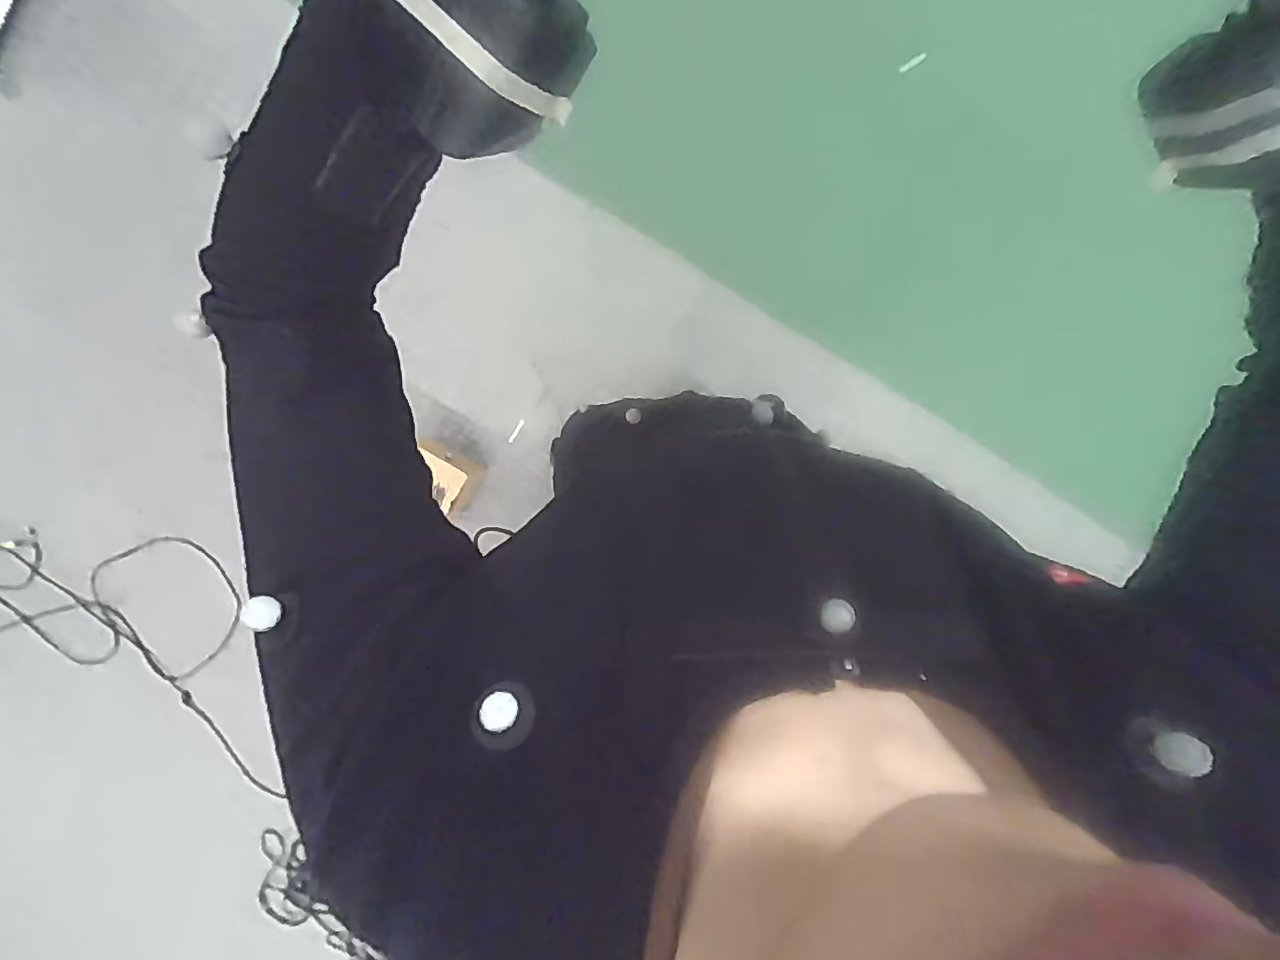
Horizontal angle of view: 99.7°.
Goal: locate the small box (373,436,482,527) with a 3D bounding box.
[{"bbox_3d":[-0.532,-0.005,1.383,0.179,0.176,0.168,30,96,-3],"label":"small box"}]
